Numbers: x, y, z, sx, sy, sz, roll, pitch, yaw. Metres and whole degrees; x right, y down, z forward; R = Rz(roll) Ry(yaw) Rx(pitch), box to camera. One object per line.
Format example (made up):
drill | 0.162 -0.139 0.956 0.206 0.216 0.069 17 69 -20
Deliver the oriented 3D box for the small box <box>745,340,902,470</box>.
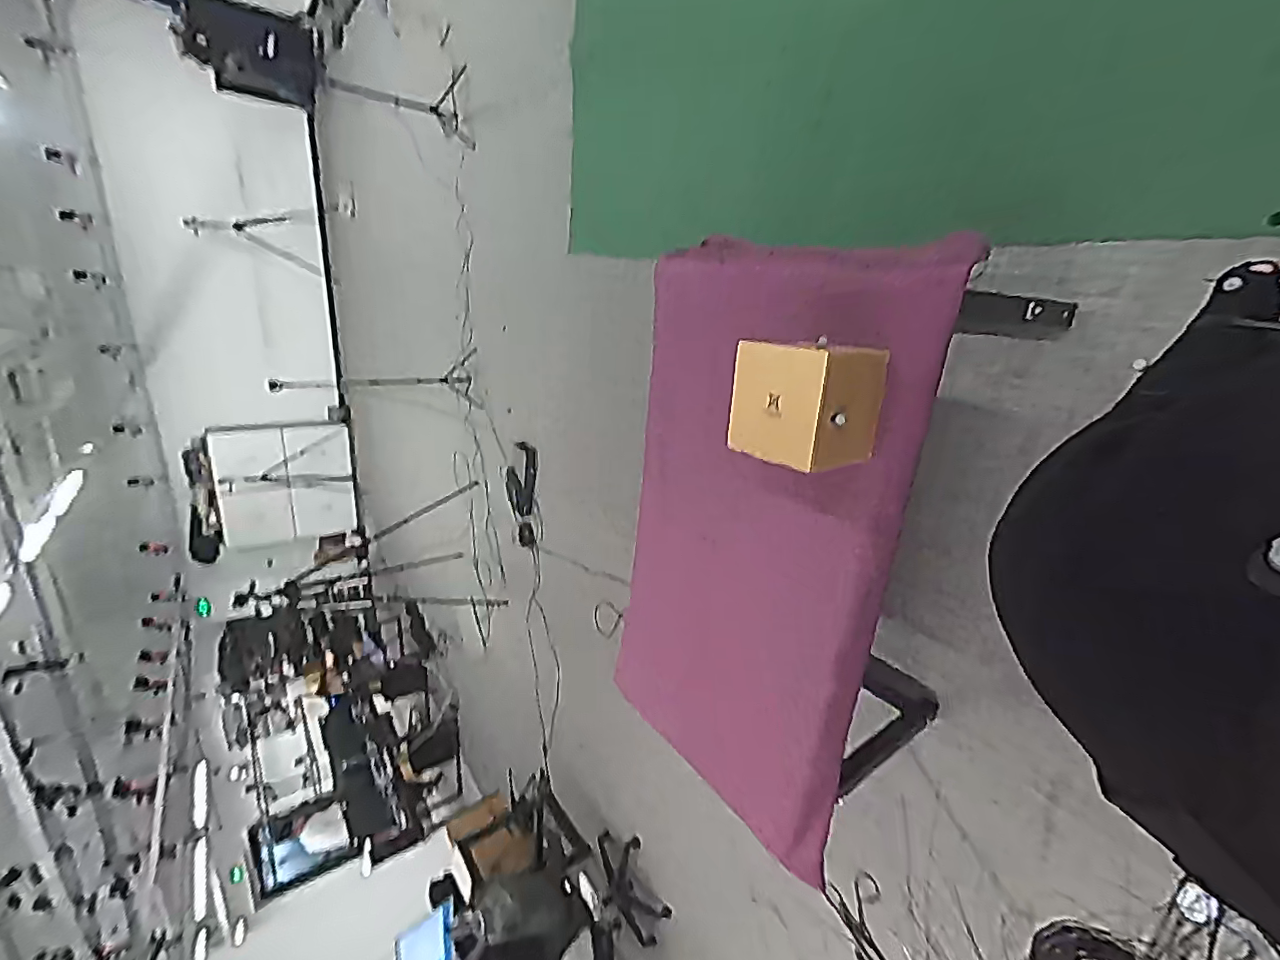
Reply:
small box | 0.294 -0.131 0.869 0.168 0.176 0.179 24 119 49
